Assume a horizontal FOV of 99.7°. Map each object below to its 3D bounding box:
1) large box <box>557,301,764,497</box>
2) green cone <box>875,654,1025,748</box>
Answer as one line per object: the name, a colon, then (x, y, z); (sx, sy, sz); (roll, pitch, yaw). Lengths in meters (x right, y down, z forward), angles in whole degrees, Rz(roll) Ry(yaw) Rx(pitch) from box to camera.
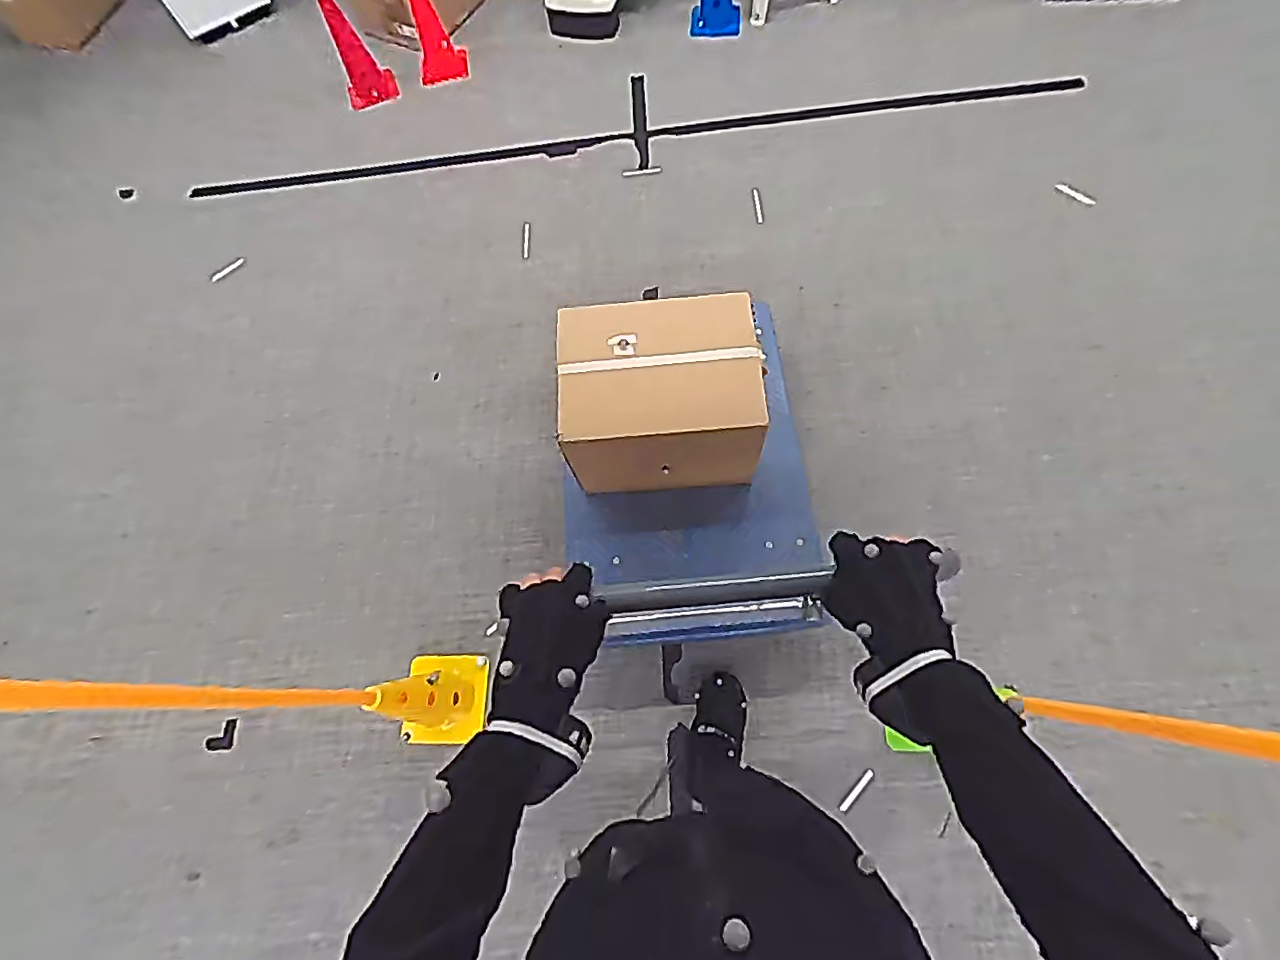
large box: (0.045, -0.165, 1.230); (0.408, 0.320, 0.320); (-5, 69, 4)
green cone: (0.643, 0.442, 1.087); (0.202, 0.368, 0.200); (-1, 68, 4)
